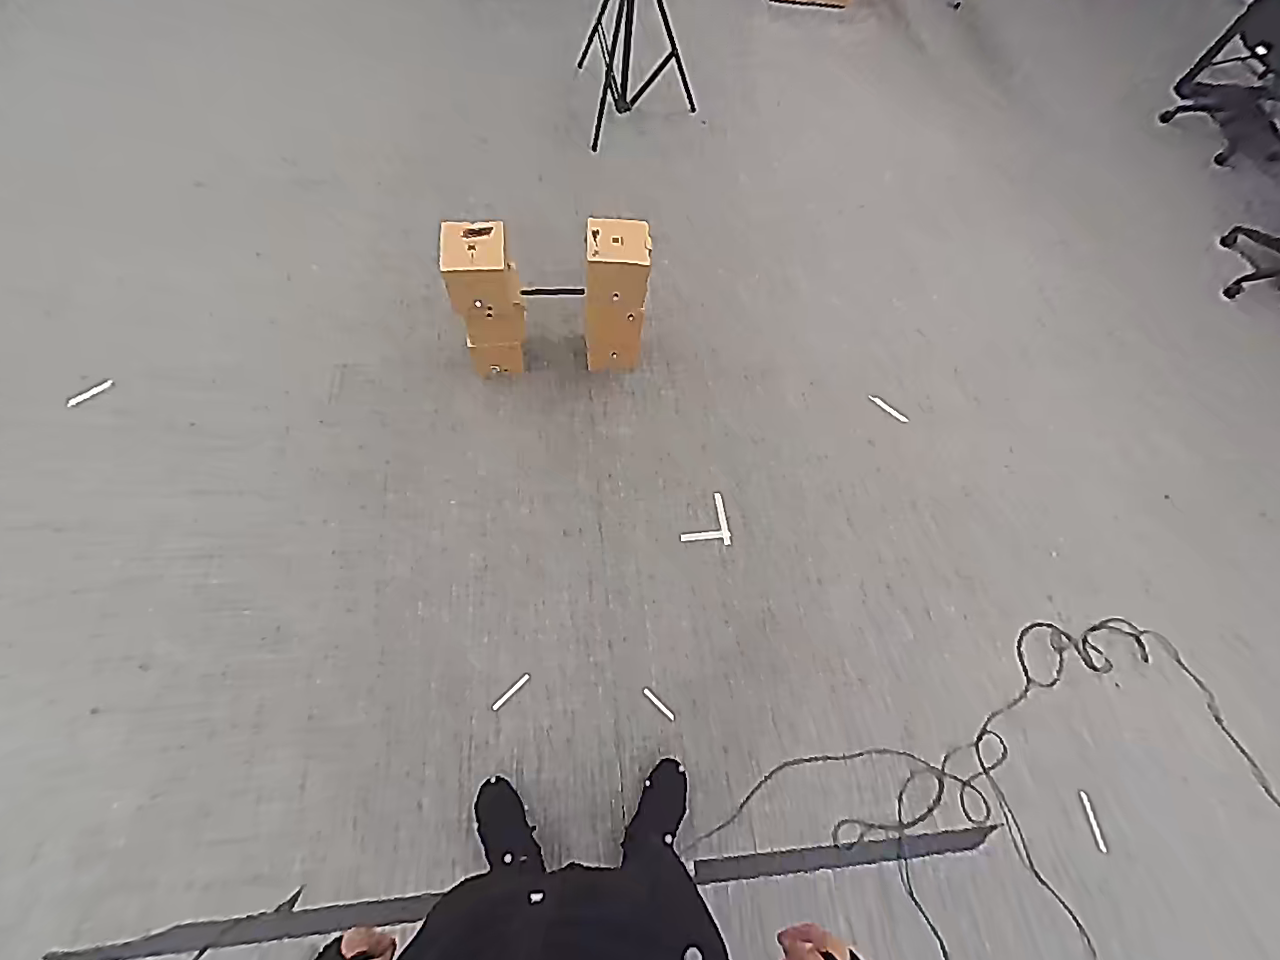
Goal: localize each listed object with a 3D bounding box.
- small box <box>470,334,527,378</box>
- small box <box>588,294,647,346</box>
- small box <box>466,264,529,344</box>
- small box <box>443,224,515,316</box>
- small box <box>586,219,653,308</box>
[{"bbox_3d":[-0.472,-0.462,1.803,0.168,0.176,0.179,-6,67,-9],"label":"small box"},{"bbox_3d":[-0.073,-0.543,1.705,0.179,0.176,0.168,2,65,-6],"label":"small box"},{"bbox_3d":[-0.443,-0.534,1.658,0.179,0.176,0.168,-7,67,-9],"label":"small box"},{"bbox_3d":[-0.440,-0.579,1.497,0.168,0.176,0.179,-4,67,-7],"label":"small box"},{"bbox_3d":[-0.062,-0.616,1.558,0.179,0.176,0.168,2,65,-7],"label":"small box"}]
